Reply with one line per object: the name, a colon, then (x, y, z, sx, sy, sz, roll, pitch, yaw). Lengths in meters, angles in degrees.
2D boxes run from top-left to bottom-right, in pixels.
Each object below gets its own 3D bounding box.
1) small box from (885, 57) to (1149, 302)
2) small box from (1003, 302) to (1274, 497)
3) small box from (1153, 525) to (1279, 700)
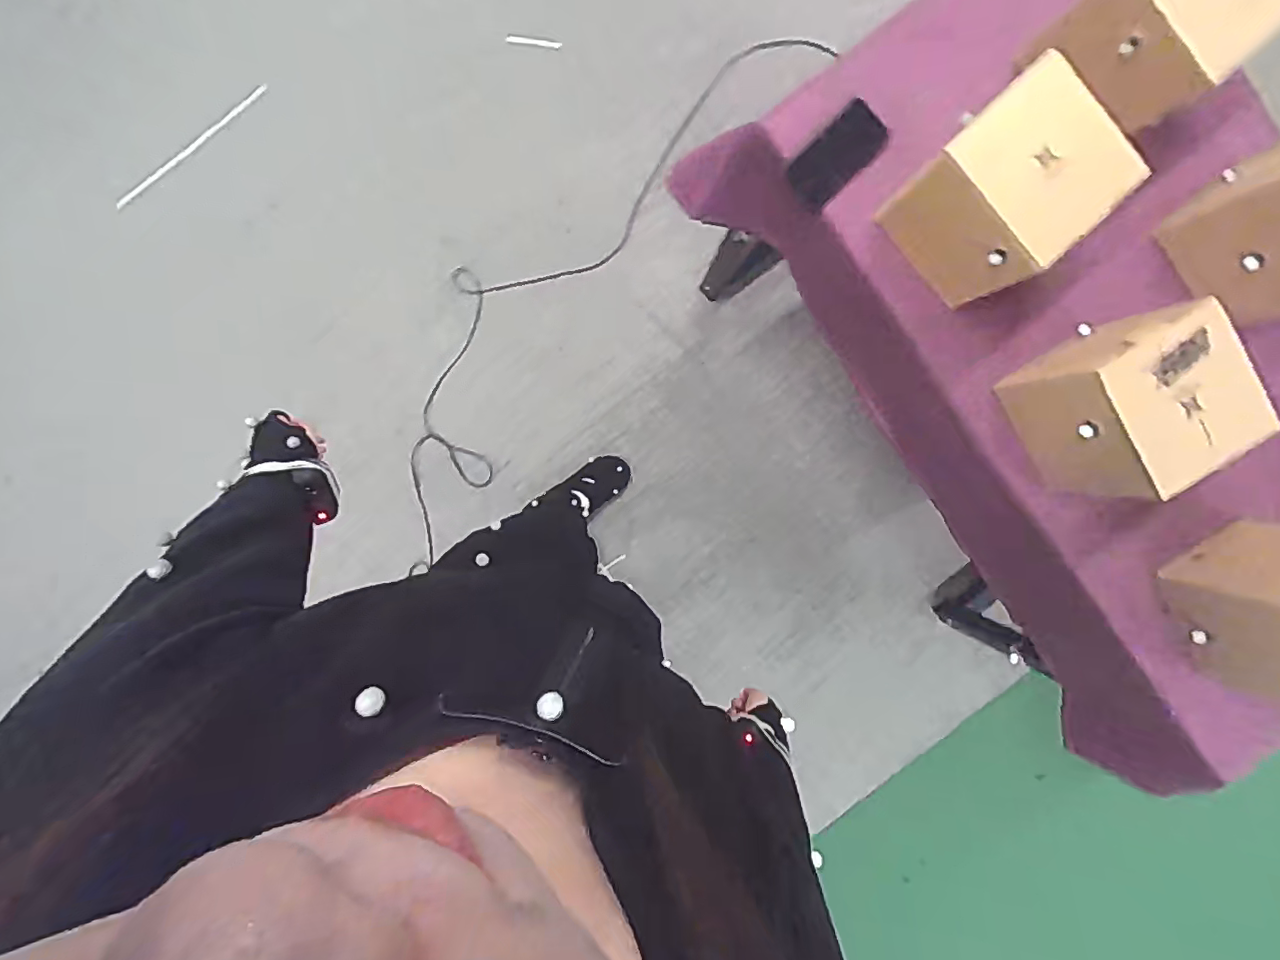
small box: (0.453, -0.356, 0.681, 0.168, 0.176, 0.179, -42, 96, 0)
small box: (0.627, -0.096, 0.704, 0.168, 0.176, 0.179, -31, 95, -1)
small box: (0.873, 0.180, 0.734, 0.168, 0.176, 0.179, -30, 95, -1)
